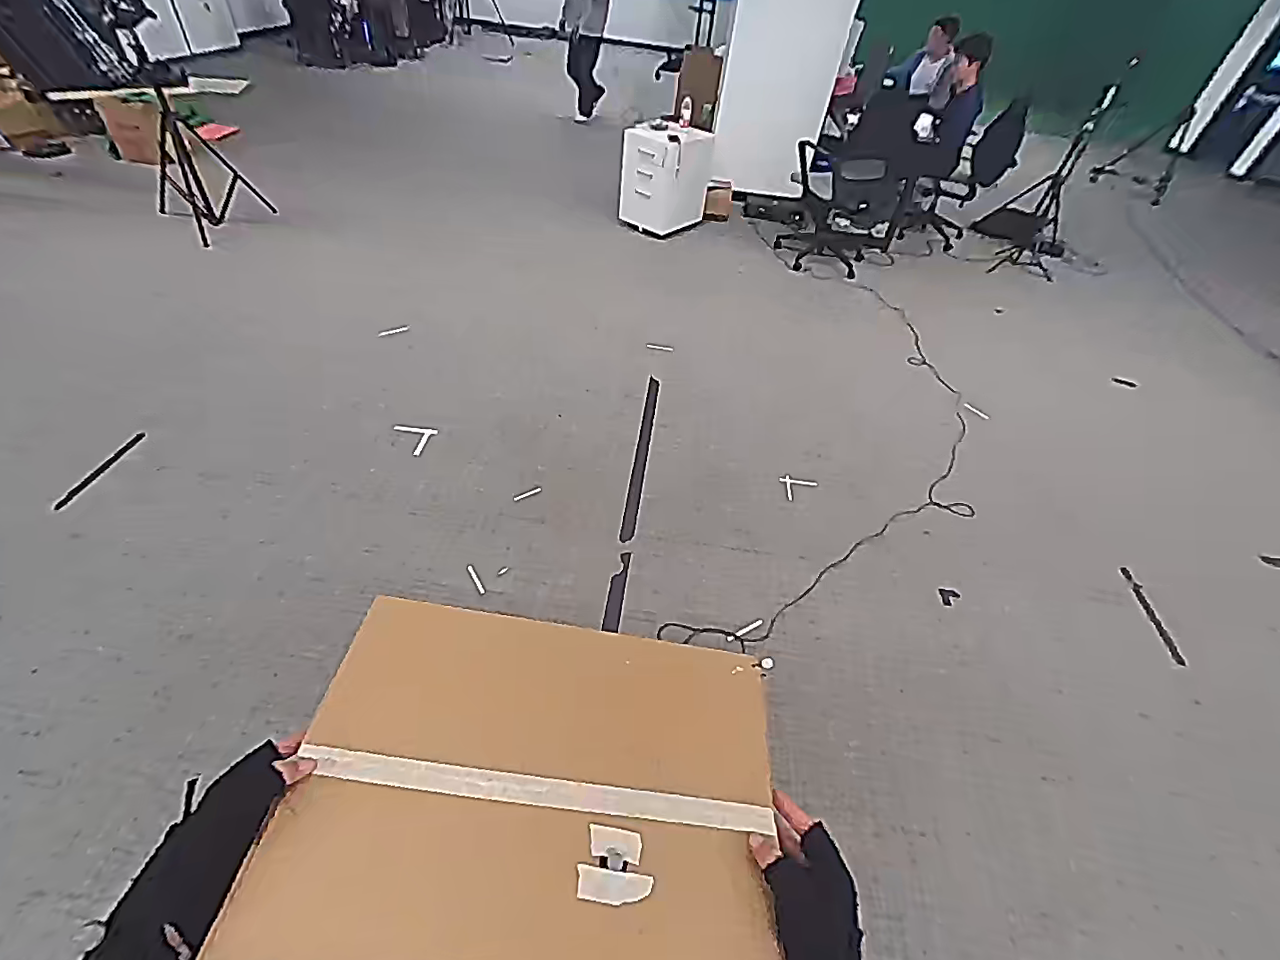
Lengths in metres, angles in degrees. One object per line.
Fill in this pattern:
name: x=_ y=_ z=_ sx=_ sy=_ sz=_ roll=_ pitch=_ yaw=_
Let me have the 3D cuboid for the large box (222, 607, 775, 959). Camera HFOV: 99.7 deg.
large box: x=-0.112 y=0.373 z=0.575 sx=0.408 sy=0.320 sz=0.320 roll=10 pitch=46 yaw=-5
